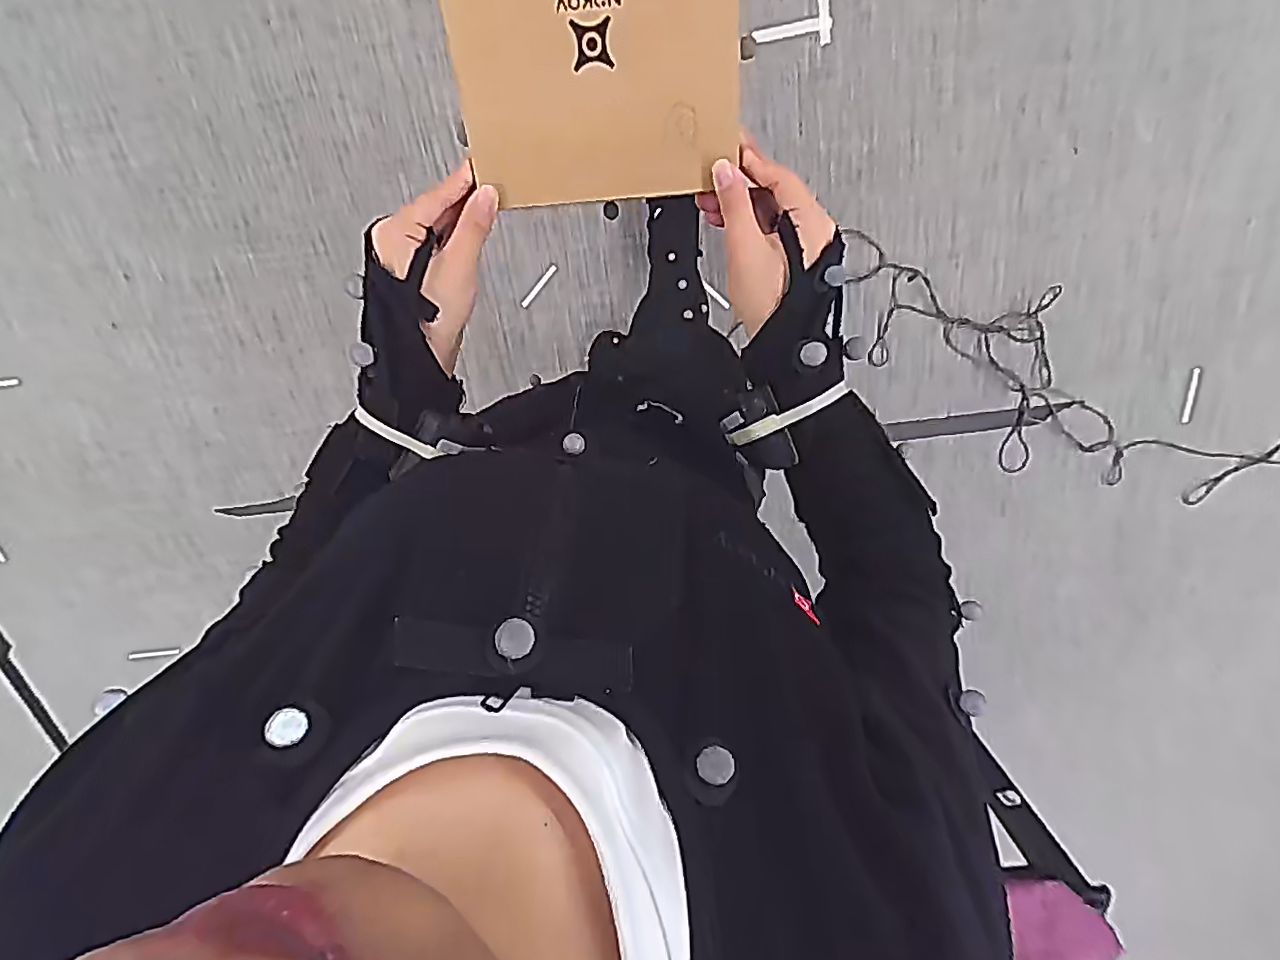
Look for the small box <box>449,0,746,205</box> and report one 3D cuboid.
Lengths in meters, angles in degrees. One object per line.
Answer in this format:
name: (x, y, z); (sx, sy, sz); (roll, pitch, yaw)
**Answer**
small box: (-0.021, -0.294, 0.368); (0.168, 0.176, 0.179); (-3, 118, 3)
